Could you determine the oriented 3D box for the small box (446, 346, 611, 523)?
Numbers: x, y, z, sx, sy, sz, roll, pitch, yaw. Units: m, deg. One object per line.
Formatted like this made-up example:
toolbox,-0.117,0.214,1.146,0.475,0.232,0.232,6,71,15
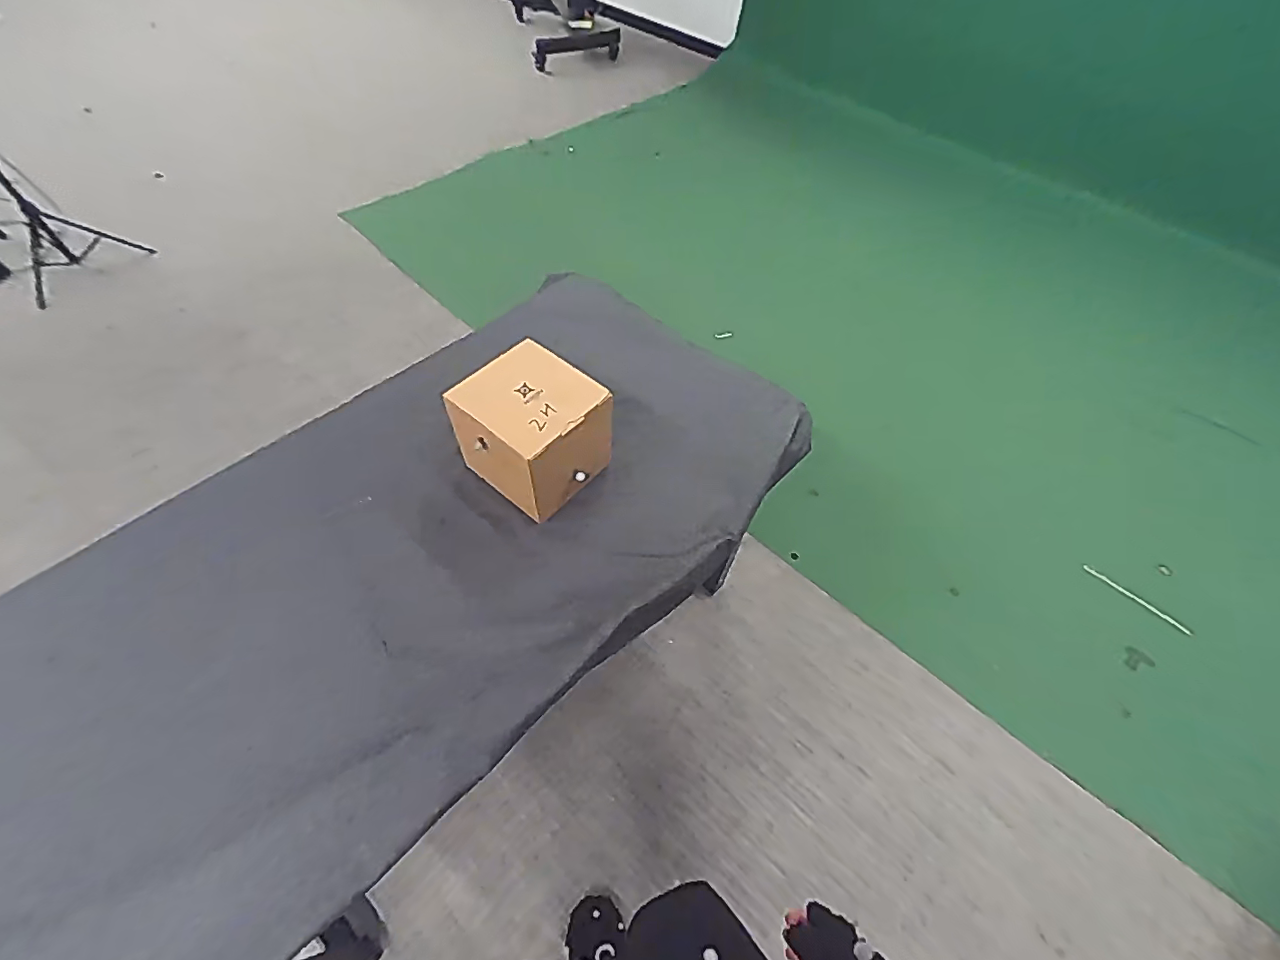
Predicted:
small box,-0.163,-0.066,0.830,0.179,0.176,0.168,36,60,19
